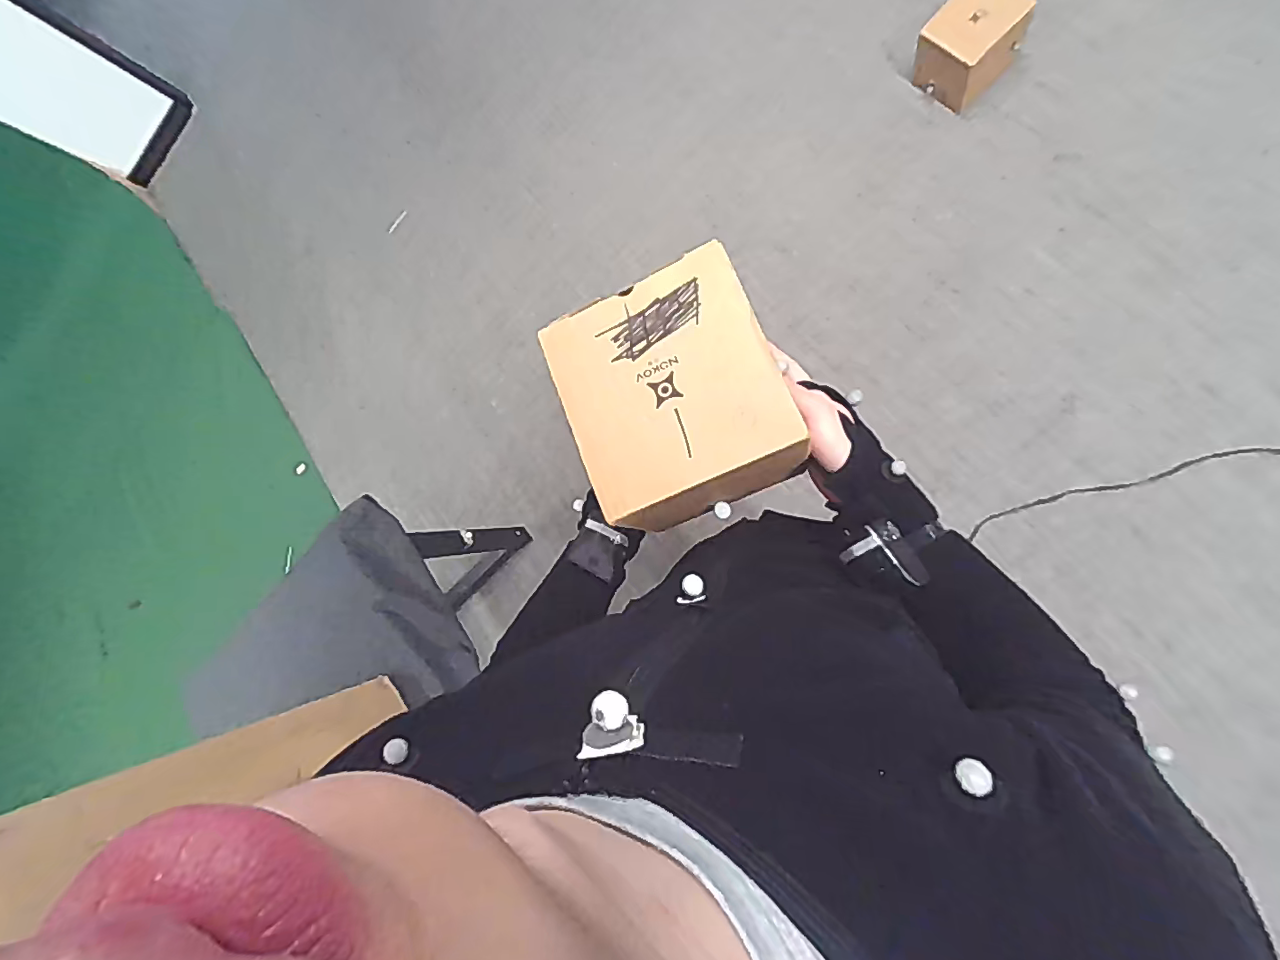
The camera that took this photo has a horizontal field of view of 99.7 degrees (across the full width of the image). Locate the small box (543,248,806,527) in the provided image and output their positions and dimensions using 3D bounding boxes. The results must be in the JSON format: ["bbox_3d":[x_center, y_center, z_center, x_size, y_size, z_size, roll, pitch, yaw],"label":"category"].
[{"bbox_3d":[0.038,-0.066,0.499,0.168,0.176,0.179,-23,78,12],"label":"small box"}]

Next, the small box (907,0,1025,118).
[{"bbox_3d":[0.787,-1.055,1.331,0.179,0.176,0.168,-44,73,14],"label":"small box"}]
